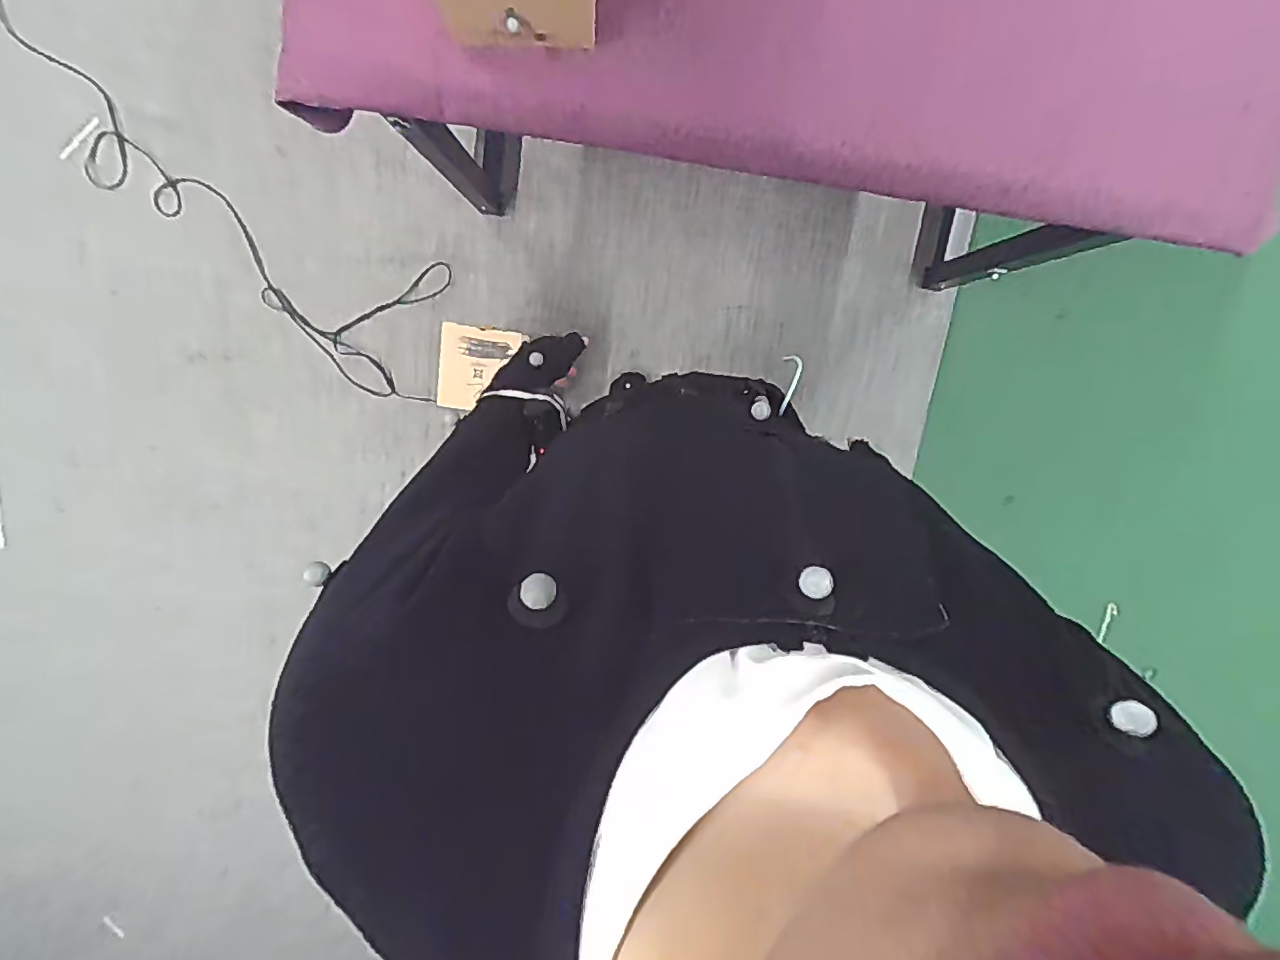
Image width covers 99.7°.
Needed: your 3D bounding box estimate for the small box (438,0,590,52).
[{"bbox_3d":[-0.135,-0.582,0.542,0.168,0.176,0.179,3,100,-1],"label":"small box"}]
